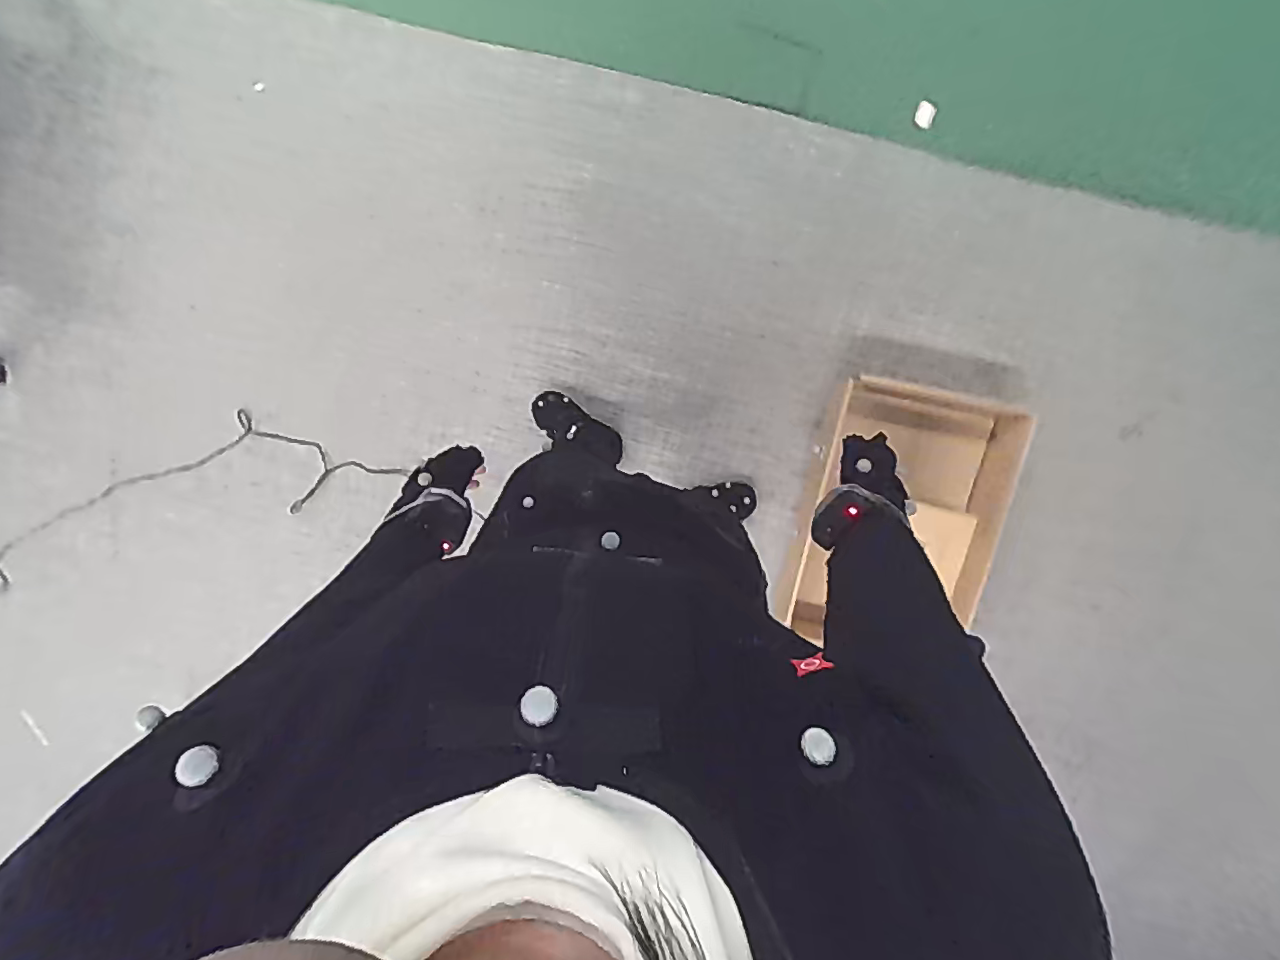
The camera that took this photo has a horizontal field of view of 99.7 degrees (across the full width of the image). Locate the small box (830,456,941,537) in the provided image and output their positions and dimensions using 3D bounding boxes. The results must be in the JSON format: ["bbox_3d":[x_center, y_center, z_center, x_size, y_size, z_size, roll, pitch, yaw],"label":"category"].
[{"bbox_3d":[0.559,0.054,1.260,0.168,0.176,0.179,14,99,2],"label":"small box"}]

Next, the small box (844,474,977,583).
[{"bbox_3d":[0.528,0.088,1.087,0.179,0.176,0.168,10,101,4],"label":"small box"}]
